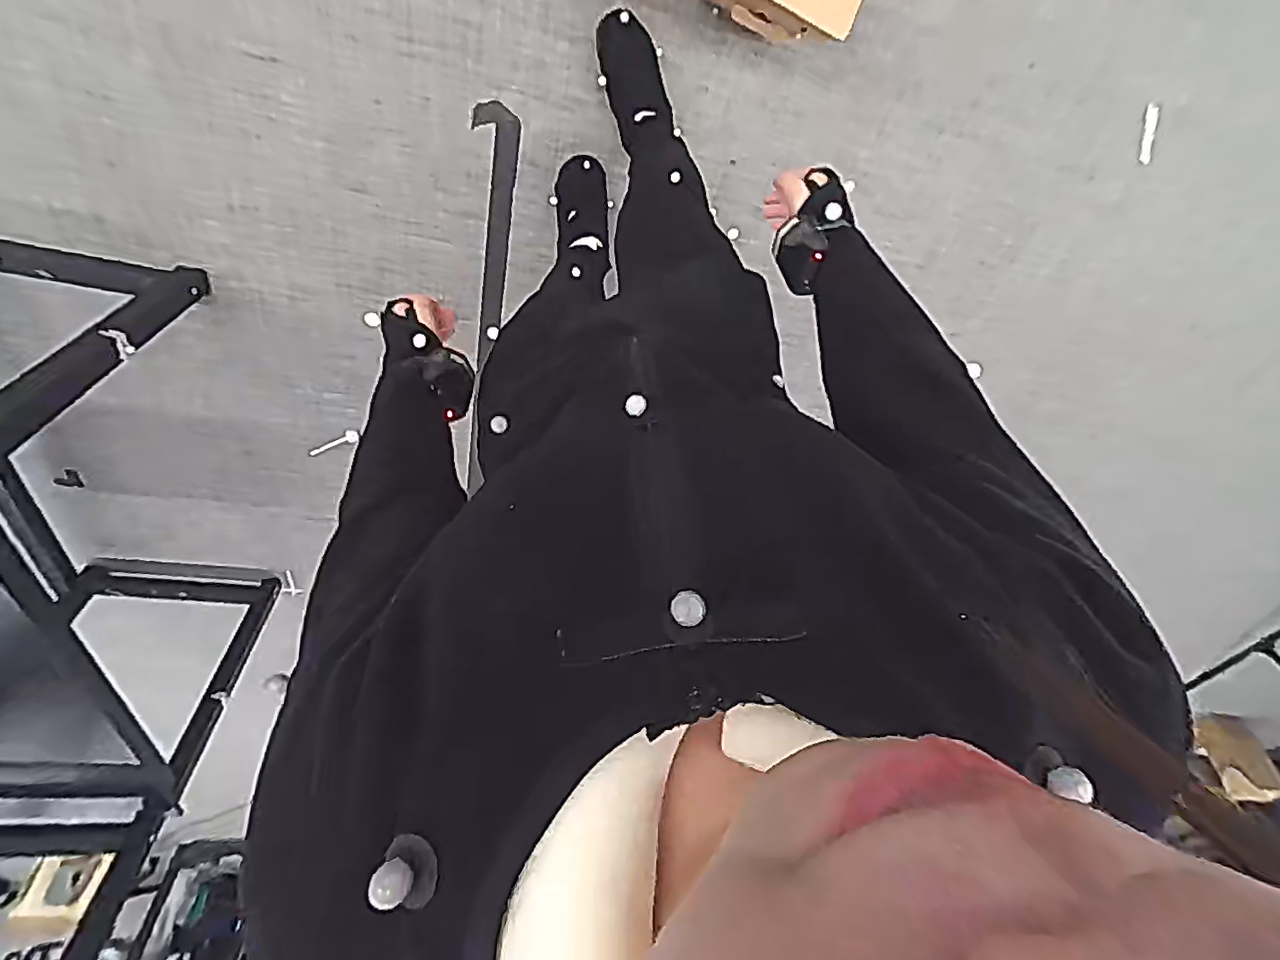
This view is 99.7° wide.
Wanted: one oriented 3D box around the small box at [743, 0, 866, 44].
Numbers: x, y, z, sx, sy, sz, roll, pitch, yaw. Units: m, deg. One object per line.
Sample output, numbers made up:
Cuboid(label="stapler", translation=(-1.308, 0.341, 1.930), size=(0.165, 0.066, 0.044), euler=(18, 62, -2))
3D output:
Cuboid(label="small box", translation=(0.242, -0.772, 0.780), size=(0.179, 0.176, 0.168), euler=(14, 128, -19))

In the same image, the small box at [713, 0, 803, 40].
Cuboid(label="small box", translation=(0.221, -0.878, 0.902), size=(0.168, 0.176, 0.179), euler=(12, 129, -18))
